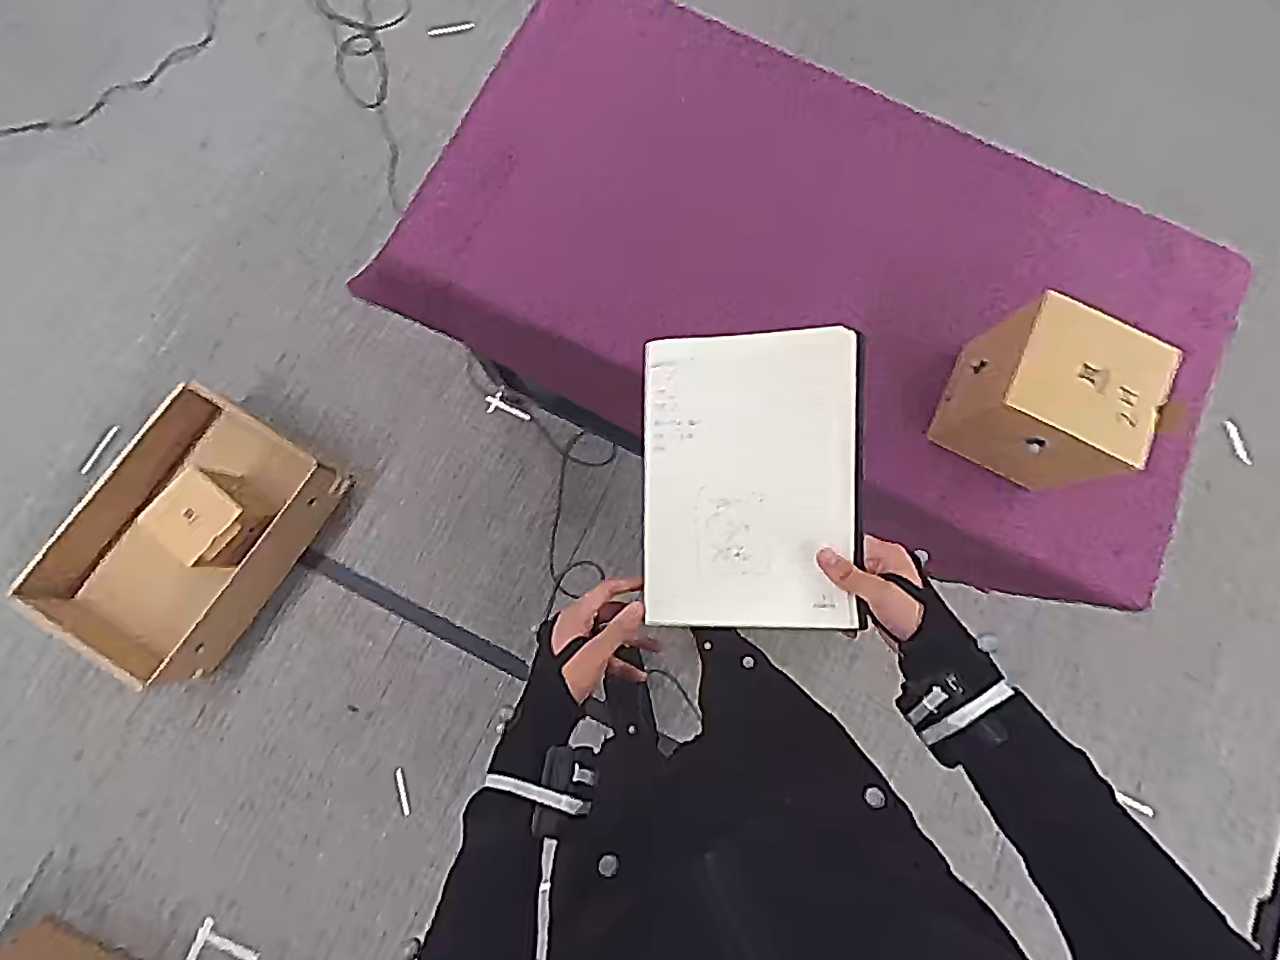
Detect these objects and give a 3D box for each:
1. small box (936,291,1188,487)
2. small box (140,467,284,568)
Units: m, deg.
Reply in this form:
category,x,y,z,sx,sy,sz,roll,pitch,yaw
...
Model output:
category,x,y,z,sx,sy,sz,roll,pitch,yaw
small box,0.532,-0.105,0.707,0.179,0.176,0.168,28,81,2
small box,-1.017,0.093,1.306,0.179,0.176,0.168,40,82,4
